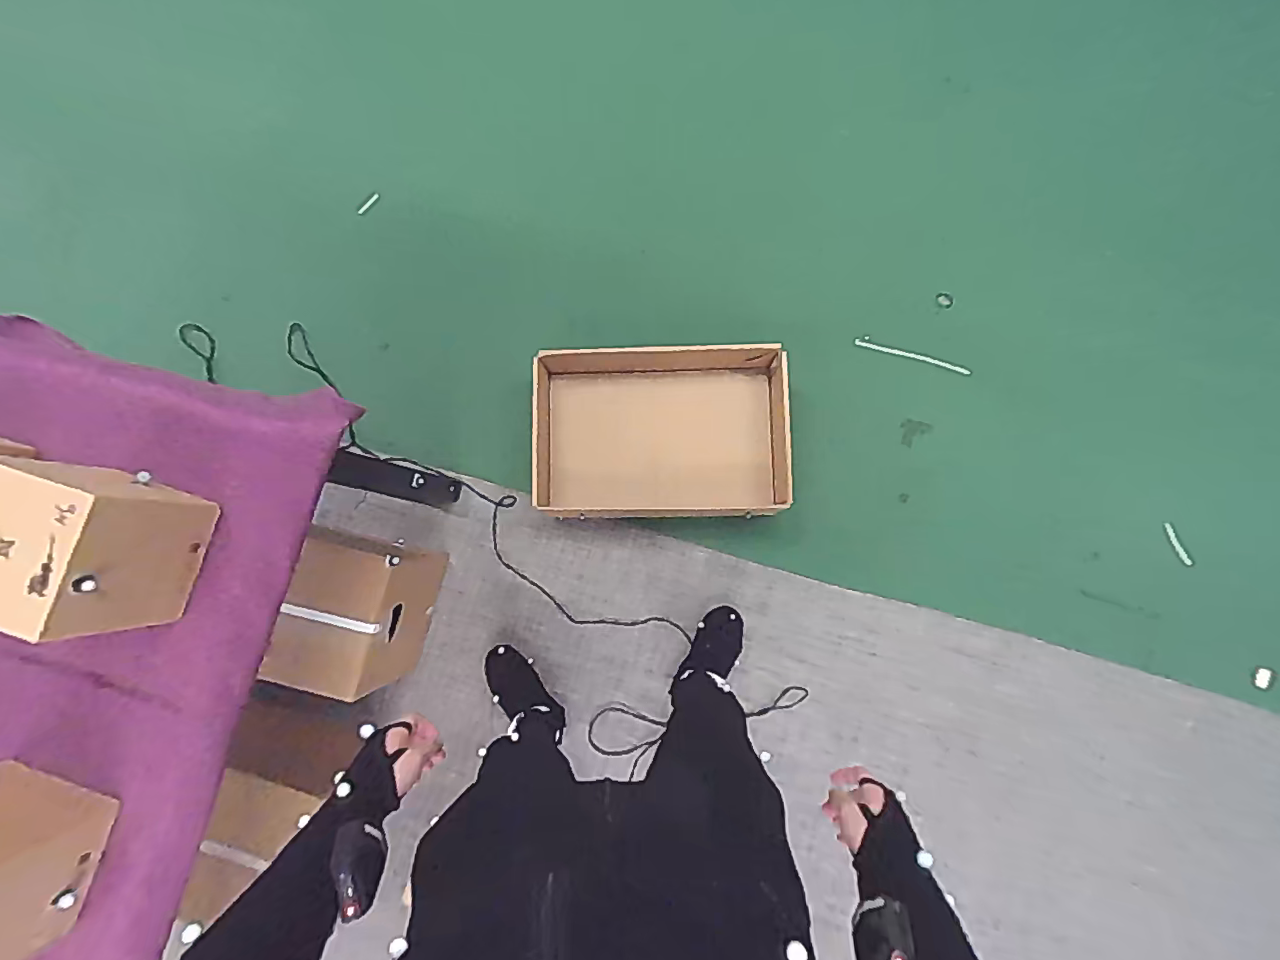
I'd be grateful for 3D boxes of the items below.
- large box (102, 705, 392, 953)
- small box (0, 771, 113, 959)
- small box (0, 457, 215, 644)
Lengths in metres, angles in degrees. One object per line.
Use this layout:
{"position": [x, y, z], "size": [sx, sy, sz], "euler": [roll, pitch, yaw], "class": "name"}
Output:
{"position": [-0.872, 0.771, 1.257], "size": [0.408, 0.320, 0.320], "euler": [15, 84, 5], "class": "large box"}
{"position": [-0.788, 0.467, 0.621], "size": [0.179, 0.176, 0.168], "euler": [17, 85, 5], "class": "small box"}
{"position": [-0.685, 0.081, 0.658], "size": [0.179, 0.176, 0.168], "euler": [17, 85, 7], "class": "small box"}
